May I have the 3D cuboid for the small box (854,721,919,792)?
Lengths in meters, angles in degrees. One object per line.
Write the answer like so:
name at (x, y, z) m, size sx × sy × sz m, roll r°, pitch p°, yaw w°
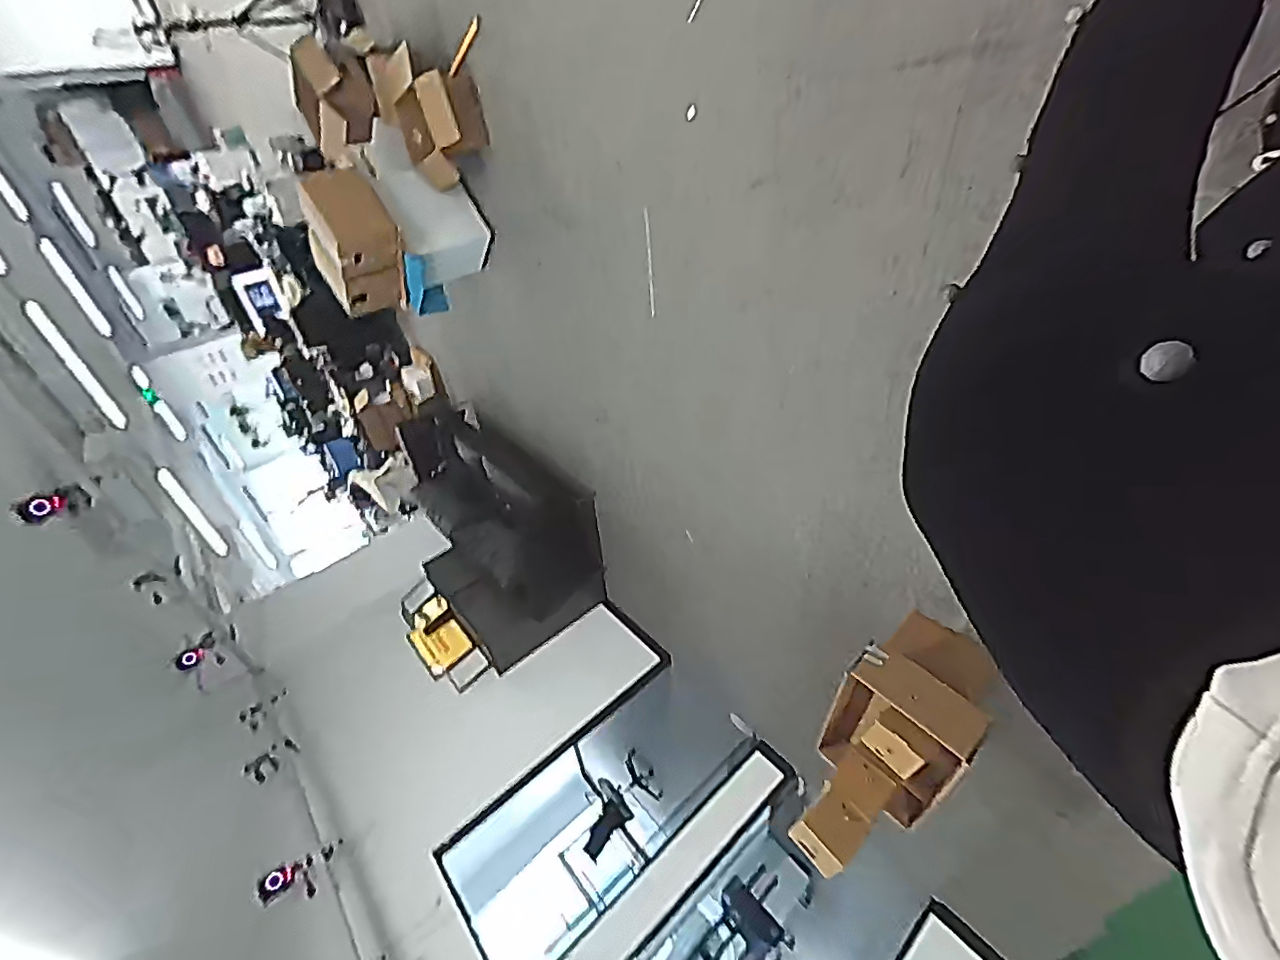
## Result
small box at (0.865, 1.007, 1.929) m, size 0.168 × 0.176 × 0.179 m, roll 34°, pitch 141°, yaw 36°

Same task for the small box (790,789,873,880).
small box at (0.625, 1.153, 1.763) m, size 0.168 × 0.176 × 0.179 m, roll 41°, pitch 144°, yaw 29°

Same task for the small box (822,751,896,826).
small box at (0.744, 1.076, 1.846) m, size 0.168 × 0.176 × 0.179 m, roll 34°, pitch 140°, yaw 37°
